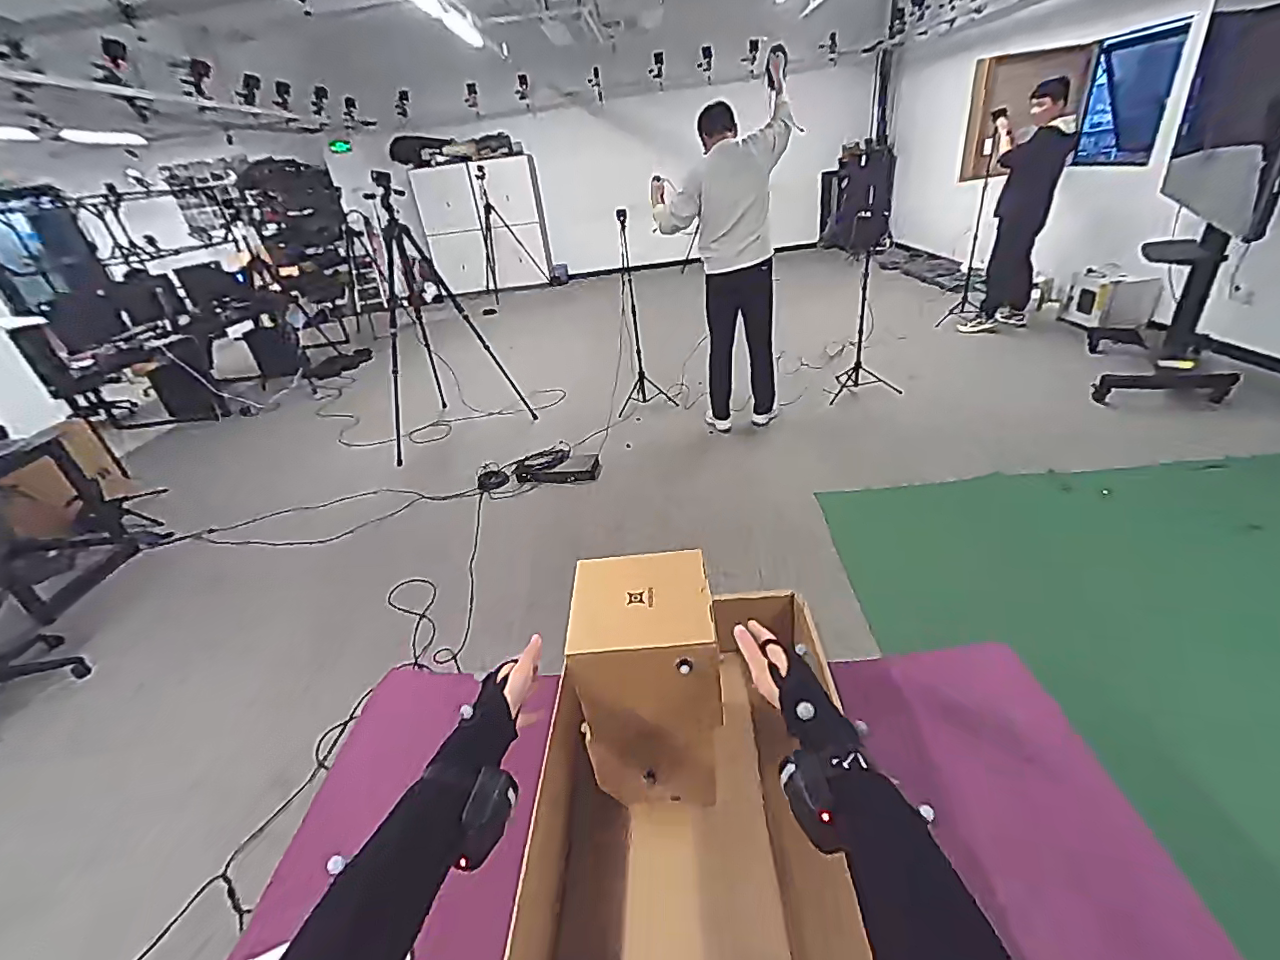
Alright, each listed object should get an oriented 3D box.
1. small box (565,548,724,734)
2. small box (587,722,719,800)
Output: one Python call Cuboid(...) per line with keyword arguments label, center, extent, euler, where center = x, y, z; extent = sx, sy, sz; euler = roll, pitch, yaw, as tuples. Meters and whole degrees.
Cuboid(label="small box", center=(0.011, 0.212, 0.713), extent=(0.179, 0.176, 0.168), euler=(-6, 32, 3))
Cuboid(label="small box", center=(0.026, 0.348, 0.799), extent=(0.168, 0.176, 0.179), euler=(-5, 32, 6))
